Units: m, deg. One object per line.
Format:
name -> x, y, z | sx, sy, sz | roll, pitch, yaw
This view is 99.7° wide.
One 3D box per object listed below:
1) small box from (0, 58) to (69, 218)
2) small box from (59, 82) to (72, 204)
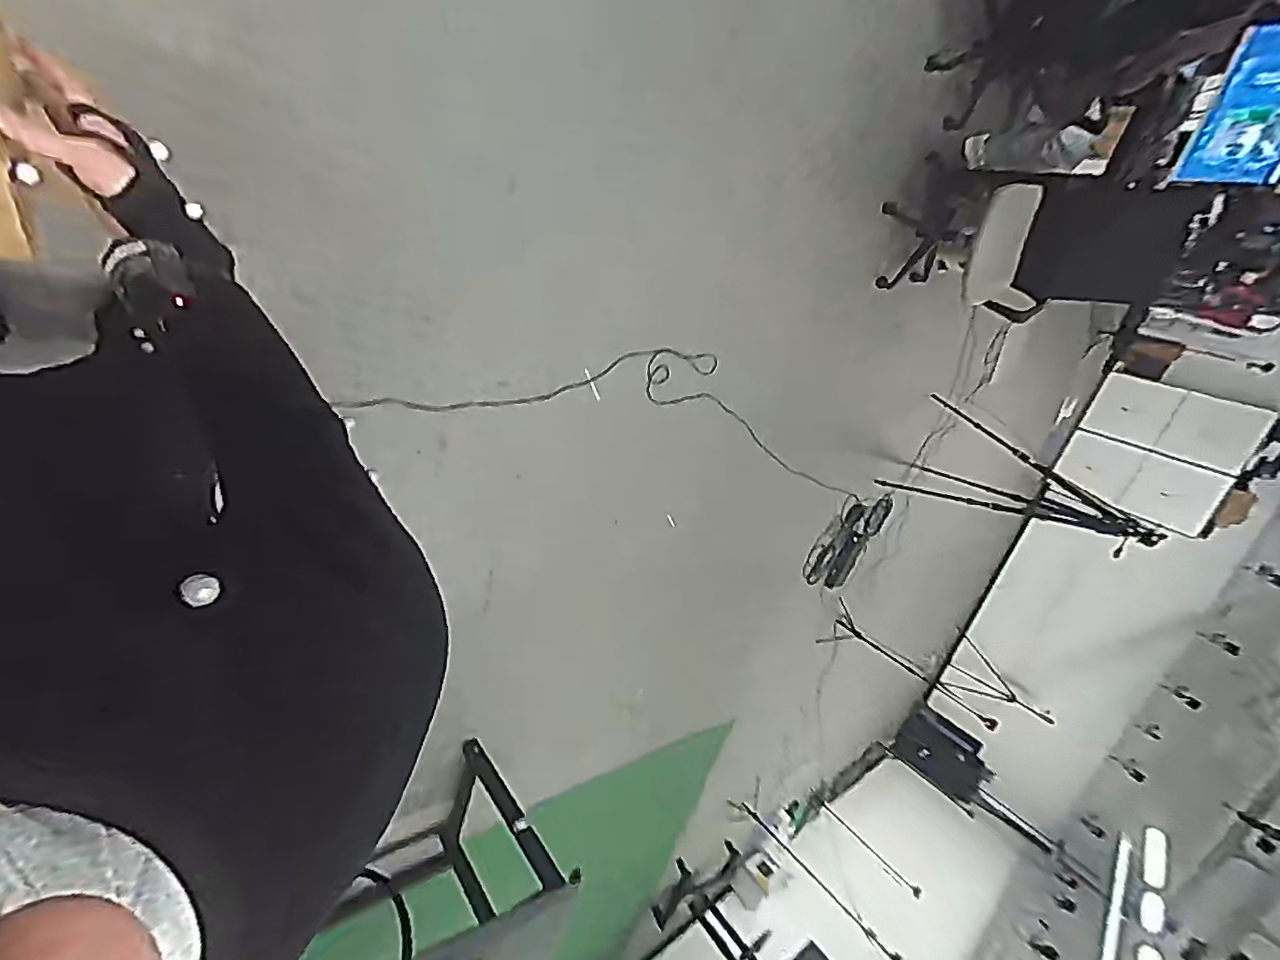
small box -> -0.898, -0.478, 0.731 | 0.168, 0.176, 0.179 | -2, 116, -44
small box -> -1.002, -0.551, 0.835 | 0.168, 0.176, 0.179 | -2, 117, -44
